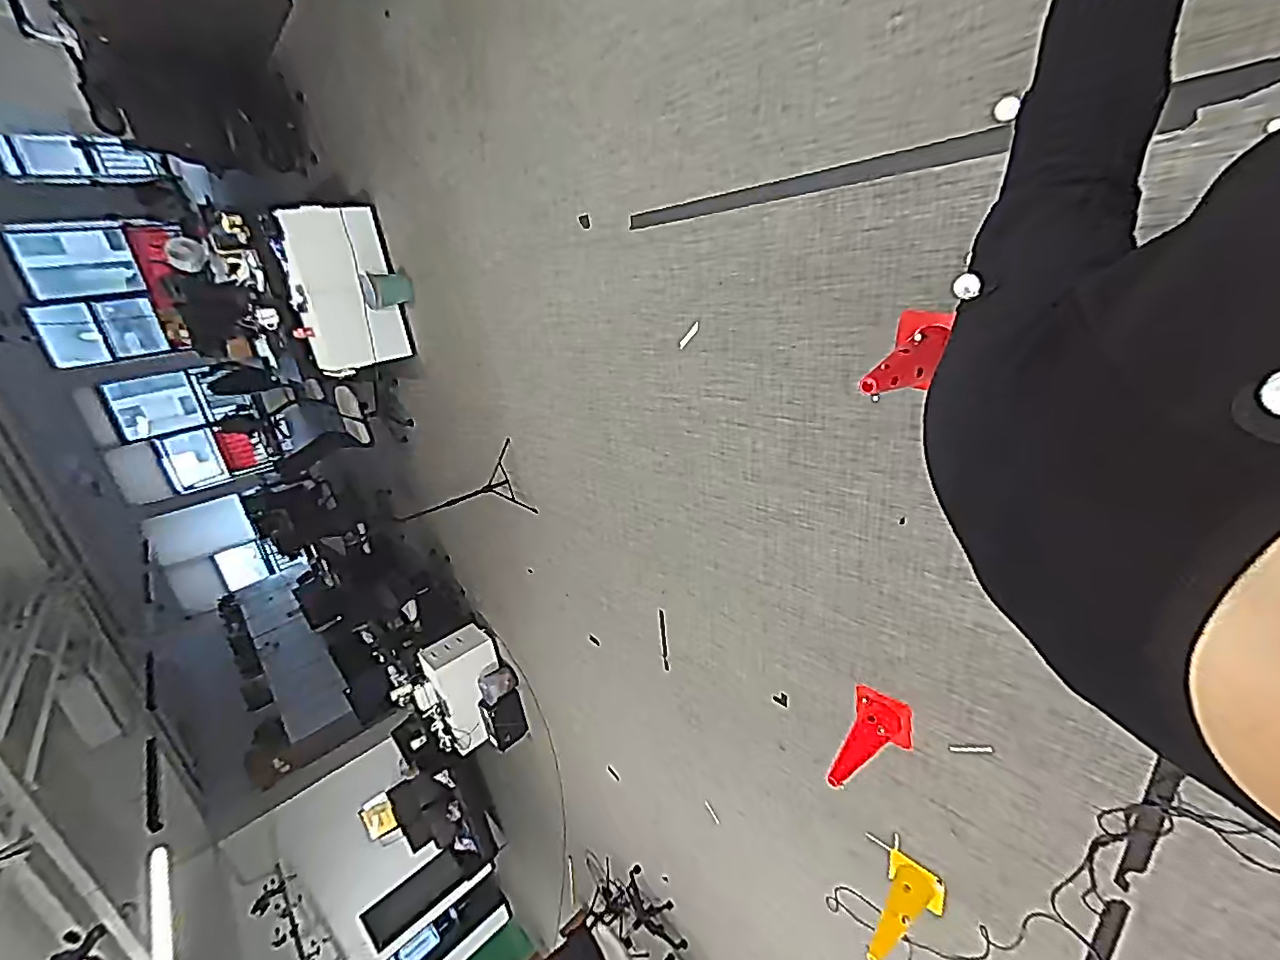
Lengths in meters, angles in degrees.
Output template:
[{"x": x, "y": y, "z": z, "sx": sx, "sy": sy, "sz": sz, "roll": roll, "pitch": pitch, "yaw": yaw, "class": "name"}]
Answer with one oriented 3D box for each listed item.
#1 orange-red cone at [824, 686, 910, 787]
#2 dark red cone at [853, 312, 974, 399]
[{"x": 0.736, "y": 0.906, "z": 1.830, "sx": 0.198, "sy": 0.360, "sz": 0.199, "roll": 15, "pitch": 122, "yaw": 48, "class": "orange-red cone"}, {"x": 0.612, "y": -0.264, "z": 1.278, "sx": 0.201, "sy": 0.394, "sz": 0.202, "roll": 23, "pitch": 127, "yaw": 41, "class": "dark red cone"}]
